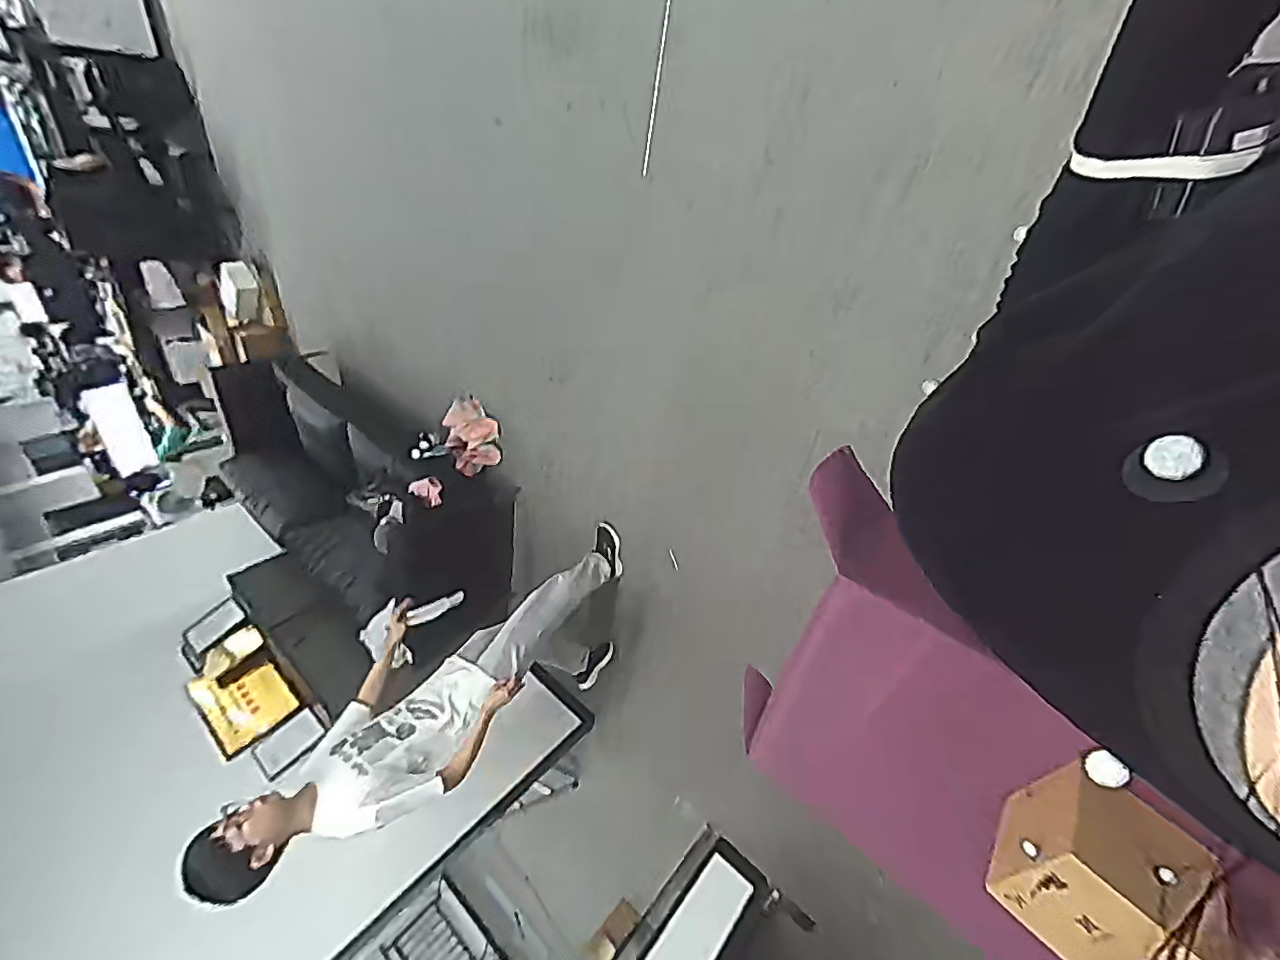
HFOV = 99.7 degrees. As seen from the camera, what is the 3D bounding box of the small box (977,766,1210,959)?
[{"bbox_3d":[0.600,0.532,0.724,0.179,0.176,0.168,37,131,21],"label":"small box"}]
